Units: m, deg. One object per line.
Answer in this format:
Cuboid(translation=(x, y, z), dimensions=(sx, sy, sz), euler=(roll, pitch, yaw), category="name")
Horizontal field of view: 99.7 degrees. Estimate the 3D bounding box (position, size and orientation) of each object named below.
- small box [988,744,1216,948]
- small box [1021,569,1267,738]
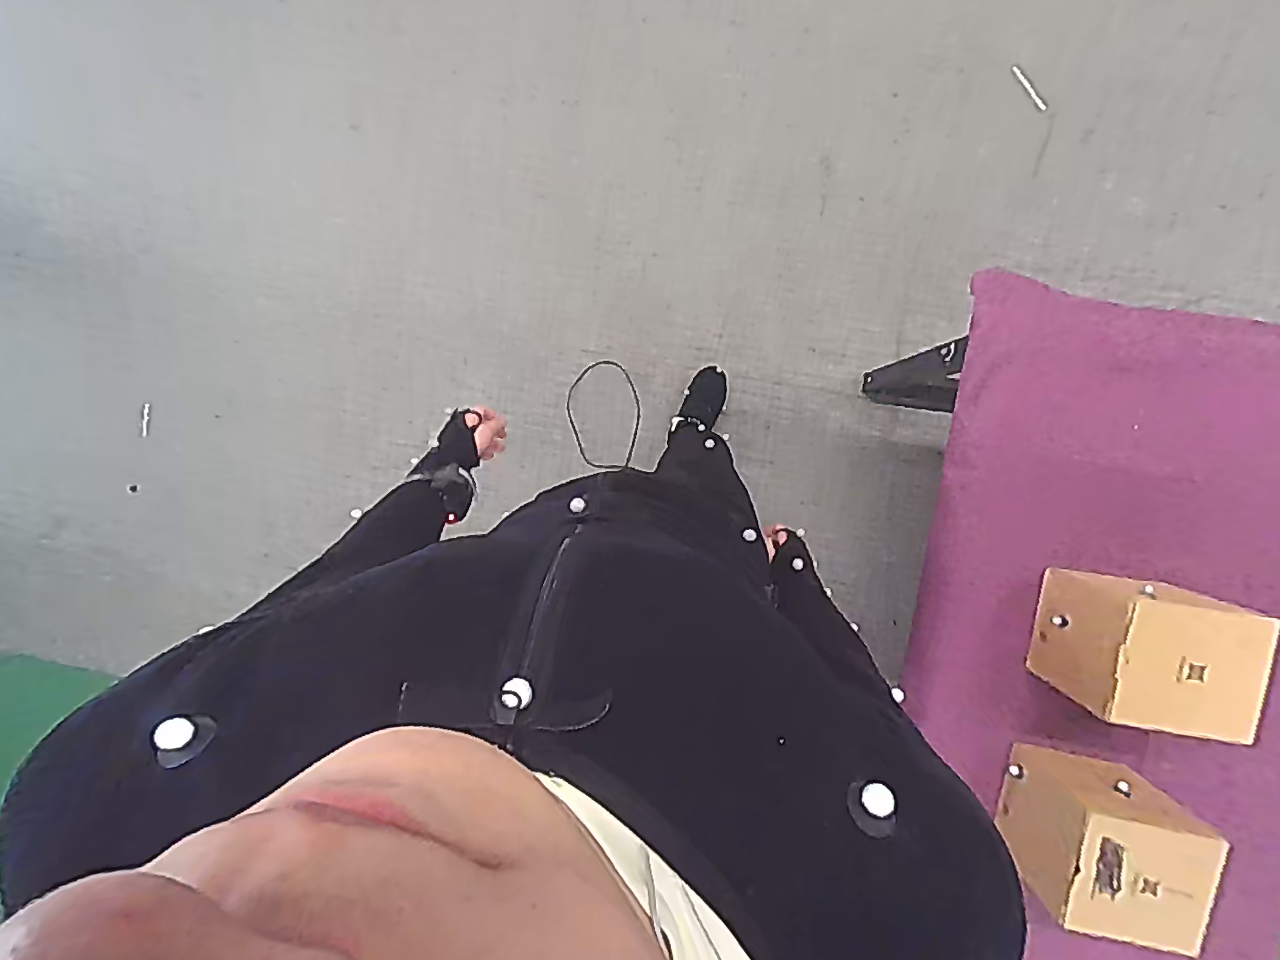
Cuboid(translation=(0.653, 0.516, 0.791), dimensions=(0.179, 0.176, 0.168), euler=(10, 95, 3), category="small box")
Cuboid(translation=(0.694, 0.233, 0.768), dimensions=(0.179, 0.176, 0.168), euler=(8, 95, 5), category="small box")
